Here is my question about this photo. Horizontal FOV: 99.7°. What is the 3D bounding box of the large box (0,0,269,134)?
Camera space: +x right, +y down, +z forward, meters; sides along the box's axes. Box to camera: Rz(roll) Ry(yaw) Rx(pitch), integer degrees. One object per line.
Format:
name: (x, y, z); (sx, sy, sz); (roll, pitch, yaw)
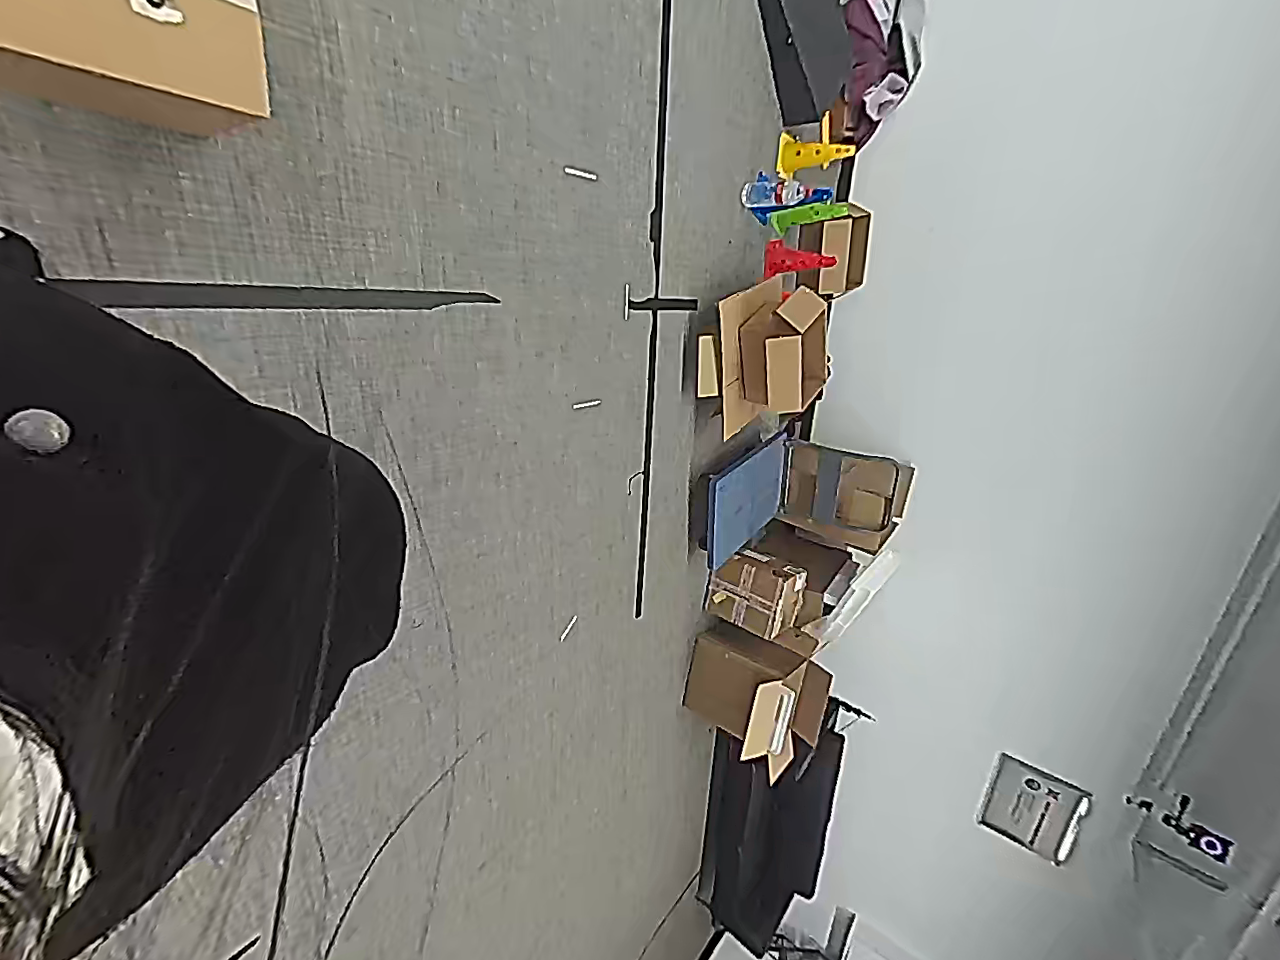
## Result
large box: (-0.857, -0.755, 0.801); (0.408, 0.320, 0.320); (-19, 120, -50)
